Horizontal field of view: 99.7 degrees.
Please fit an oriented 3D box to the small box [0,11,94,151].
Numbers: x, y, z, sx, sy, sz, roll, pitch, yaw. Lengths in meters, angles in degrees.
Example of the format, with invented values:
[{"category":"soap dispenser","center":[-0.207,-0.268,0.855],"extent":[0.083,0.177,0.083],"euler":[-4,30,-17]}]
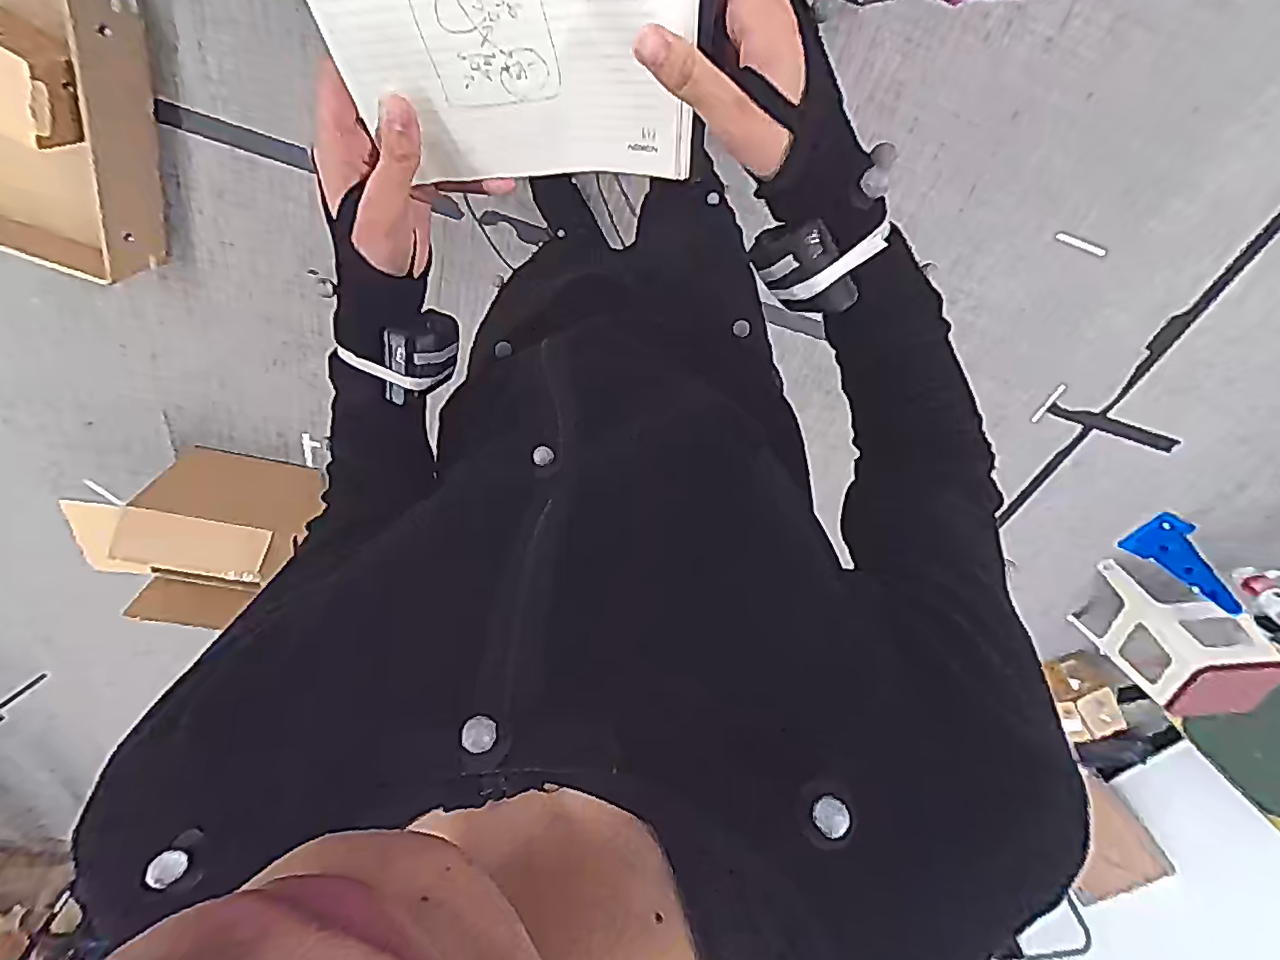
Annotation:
[{"category":"small box","center":[-1.239,-0.794,1.069],"extent":[0.179,0.176,0.168],"euler":[25,124,-19]}]
